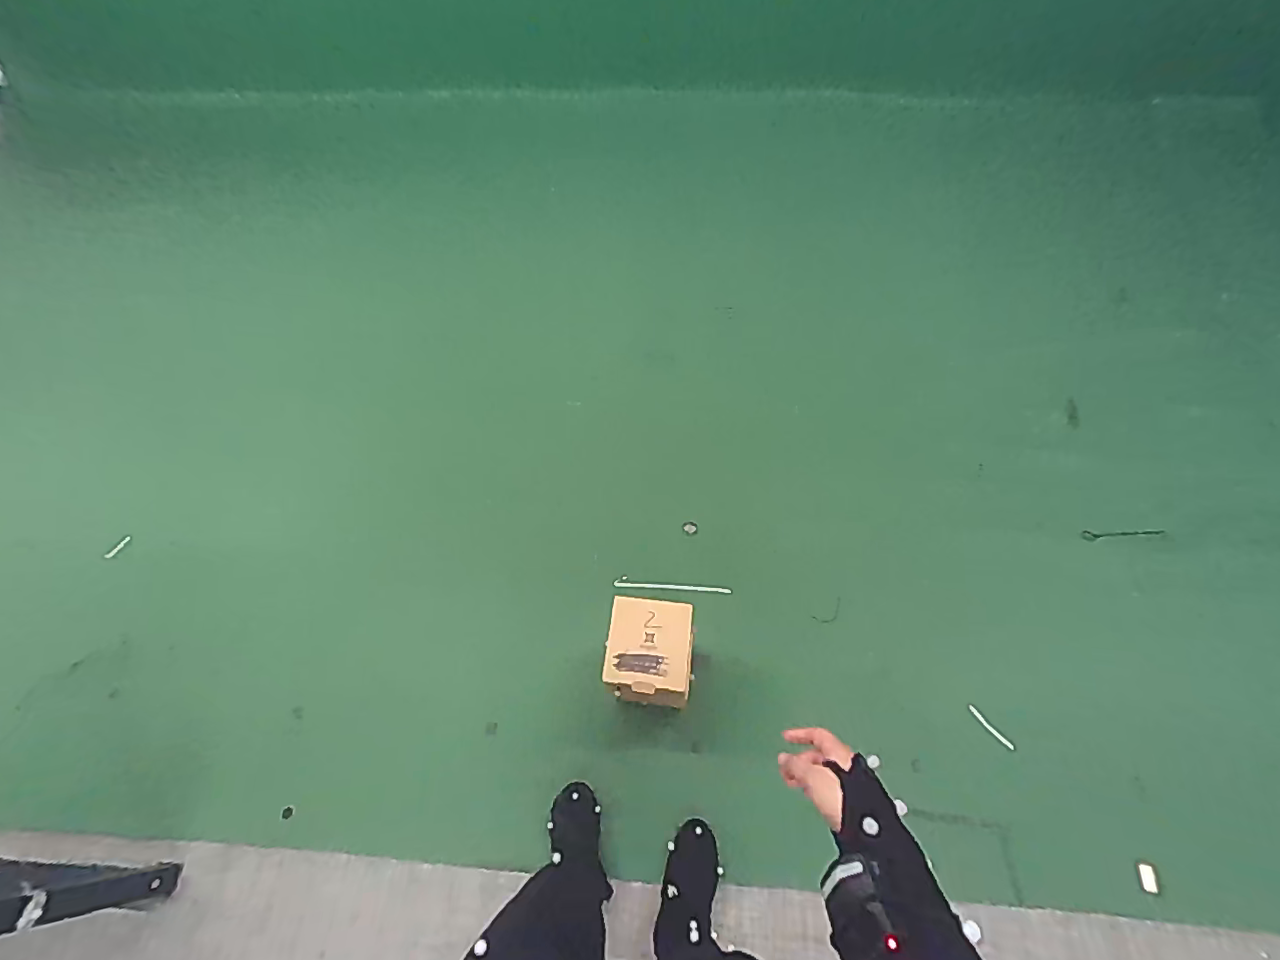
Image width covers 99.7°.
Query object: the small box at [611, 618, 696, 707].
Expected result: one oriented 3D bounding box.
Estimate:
[{"bbox_3d":[0.035,0.440,1.289,0.179,0.176,0.168,5,62,5],"label":"small box"}]
